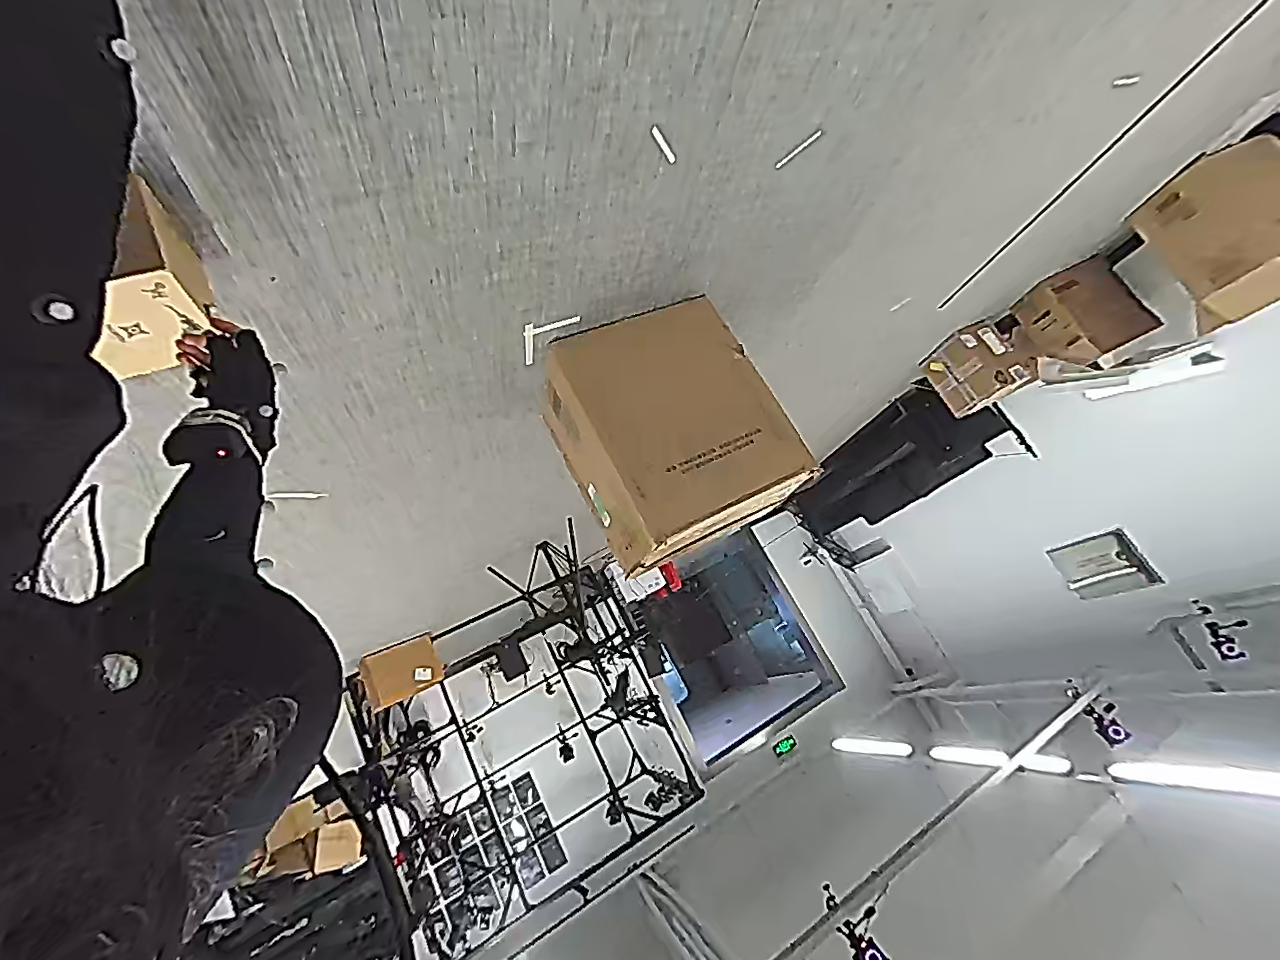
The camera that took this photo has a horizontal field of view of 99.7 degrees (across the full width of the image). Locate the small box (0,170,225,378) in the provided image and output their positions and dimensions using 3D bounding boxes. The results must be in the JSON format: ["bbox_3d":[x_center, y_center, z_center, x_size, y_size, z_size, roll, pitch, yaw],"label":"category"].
[{"bbox_3d":[-0.688,-0.264,0.697,0.179,0.176,0.168,-22,164,-21],"label":"small box"}]
